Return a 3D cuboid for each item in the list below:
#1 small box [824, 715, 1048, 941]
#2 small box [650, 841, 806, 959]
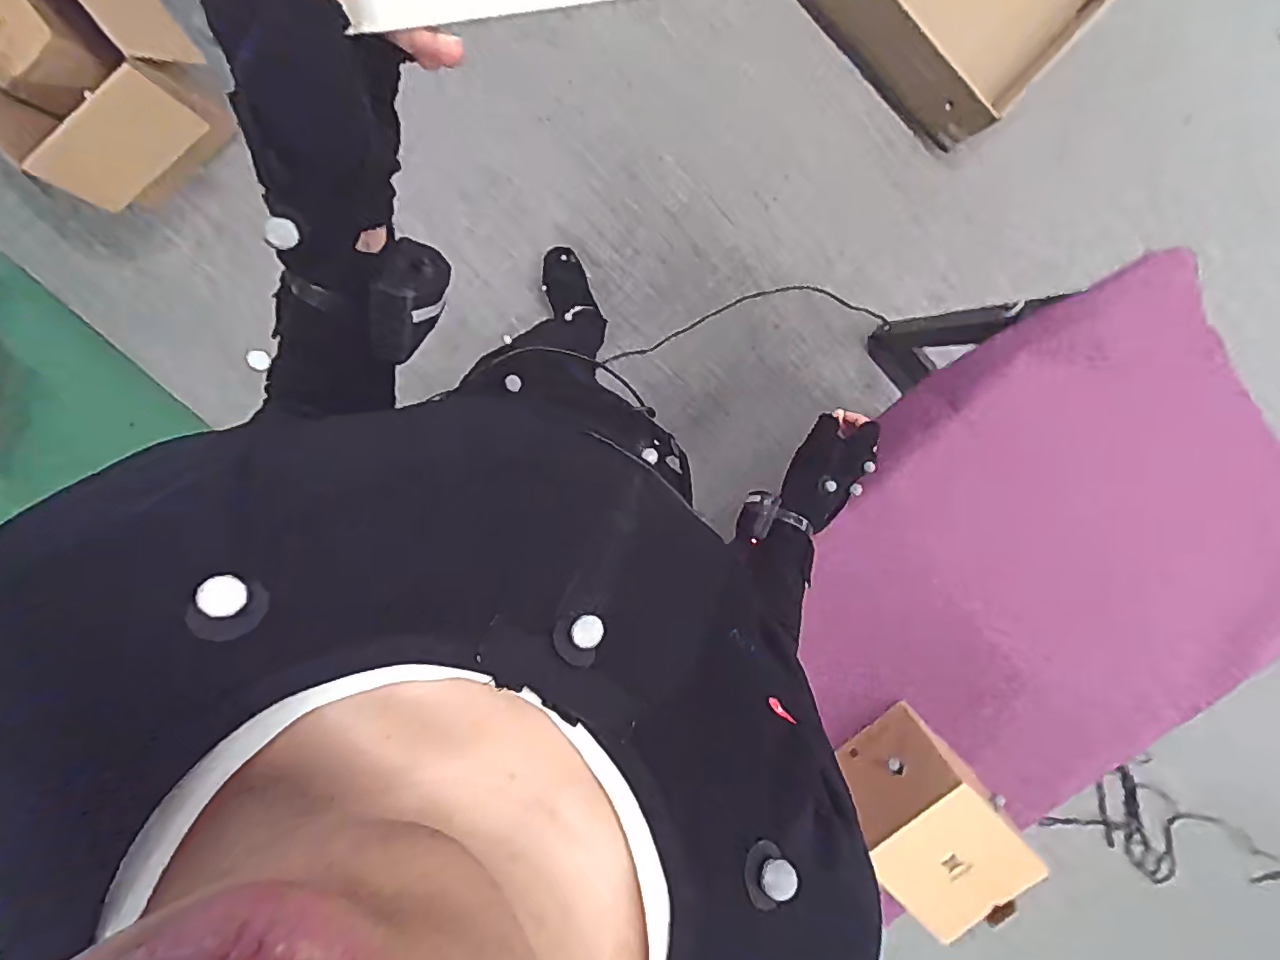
[{"bbox_3d":[0.388,0.459,0.745,0.168,0.176,0.179,-44,100,8],"label":"small box"},{"bbox_3d":[0.125,0.671,0.786,0.168,0.176,0.179,-36,99,7],"label":"small box"}]
